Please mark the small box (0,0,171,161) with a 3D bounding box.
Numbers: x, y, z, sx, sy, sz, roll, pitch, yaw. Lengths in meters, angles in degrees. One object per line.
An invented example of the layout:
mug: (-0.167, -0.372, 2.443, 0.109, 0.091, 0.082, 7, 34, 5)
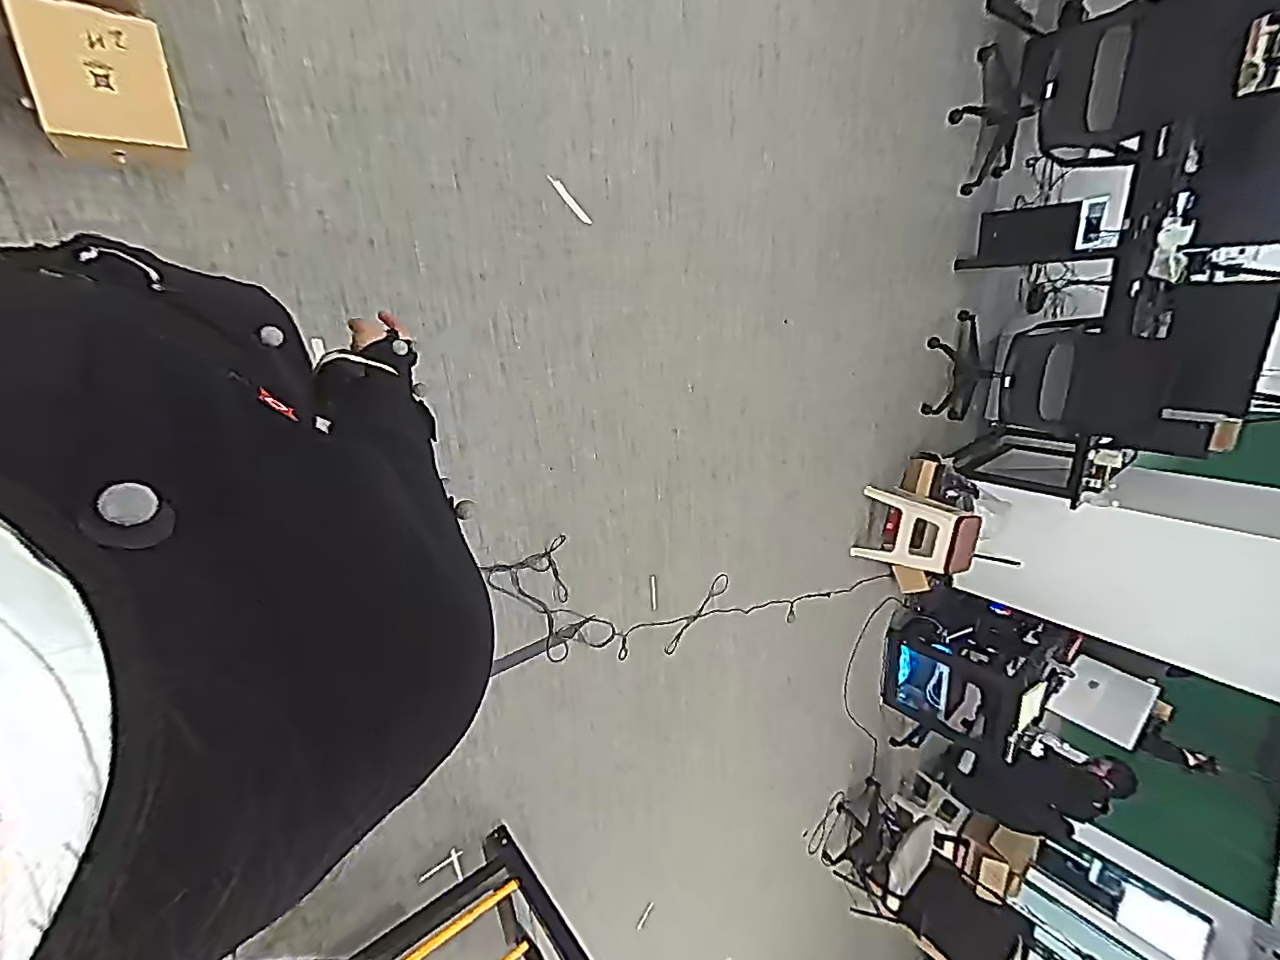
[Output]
small box: (-0.870, -0.627, 0.858, 0.168, 0.176, 0.179, -15, 113, -38)
